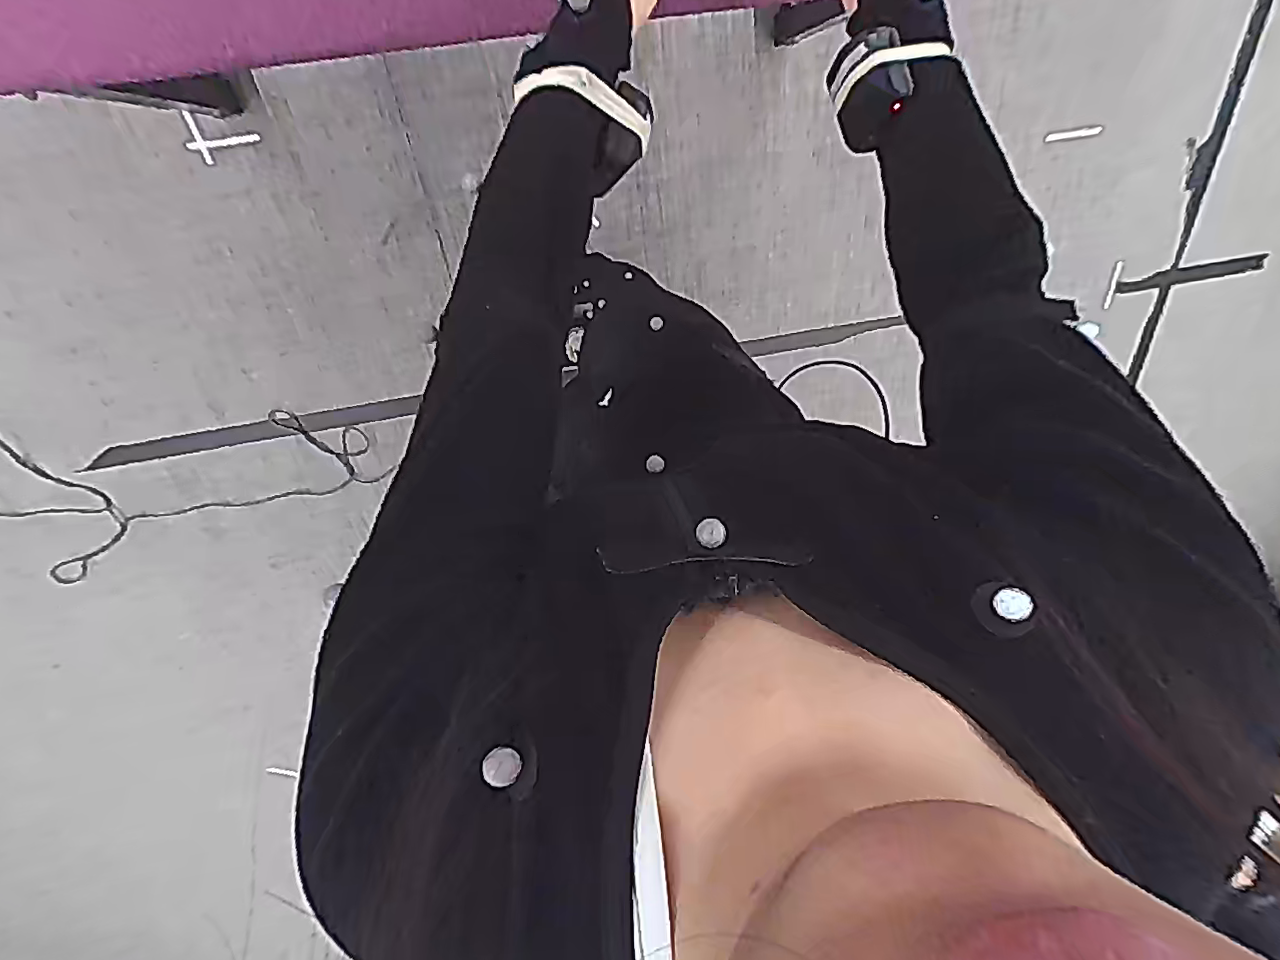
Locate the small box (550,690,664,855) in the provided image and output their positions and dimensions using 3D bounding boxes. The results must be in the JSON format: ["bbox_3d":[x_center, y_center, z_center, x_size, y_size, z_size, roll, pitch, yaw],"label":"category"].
[{"bbox_3d":[-0.058,0.496,0.928,0.168,0.176,0.179,-10,121,-7],"label":"small box"}]

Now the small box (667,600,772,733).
[{"bbox_3d":[0.155,0.374,1.097,0.168,0.176,0.179,-11,123,-7],"label":"small box"}]
